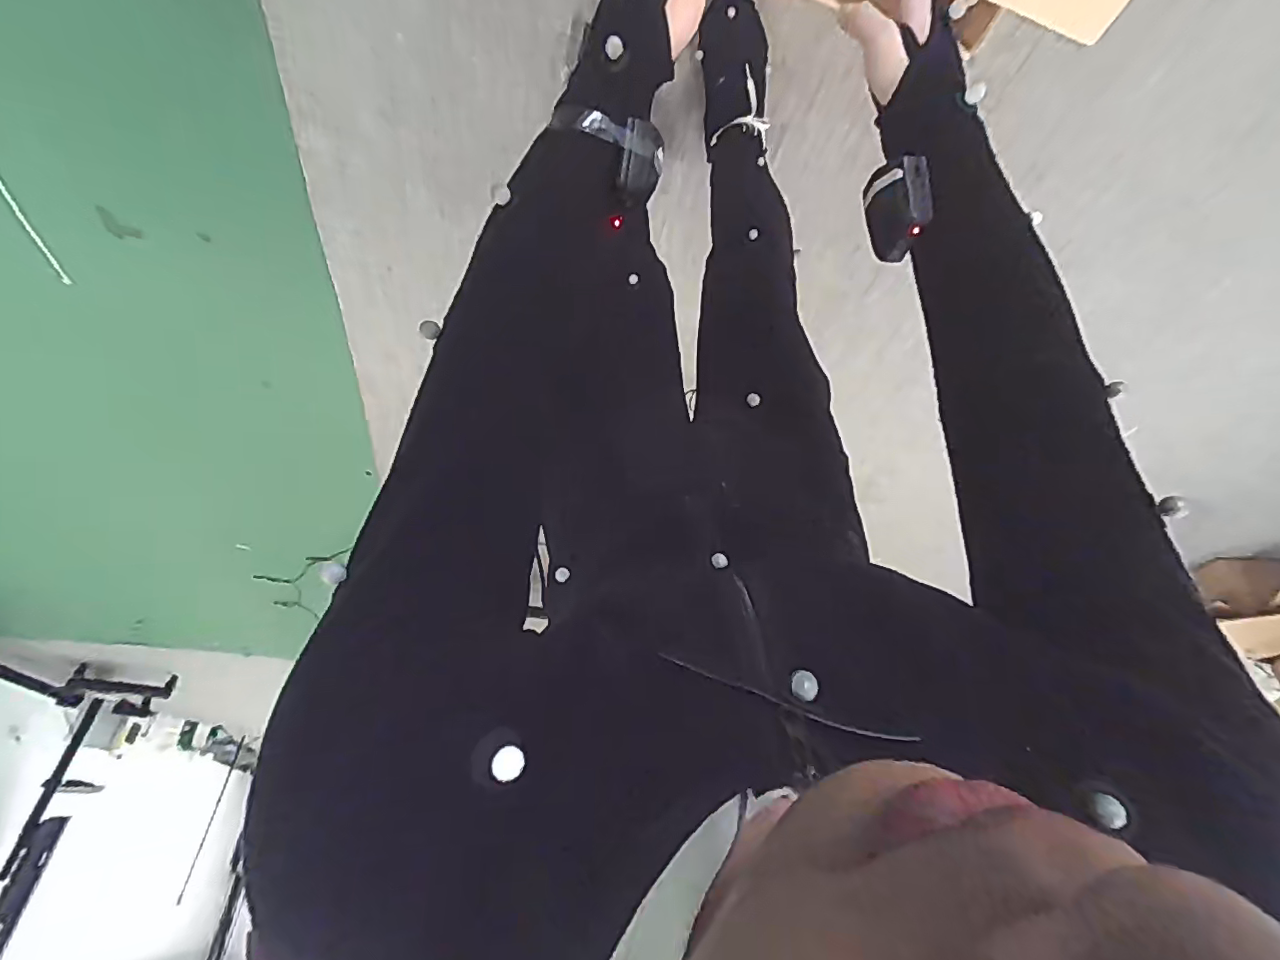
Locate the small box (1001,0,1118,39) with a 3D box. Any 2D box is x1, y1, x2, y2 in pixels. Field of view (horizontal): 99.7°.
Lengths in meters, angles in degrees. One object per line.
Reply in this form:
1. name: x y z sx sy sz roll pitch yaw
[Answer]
1. small box: 0.400 -0.573 0.508 0.168 0.176 0.179 11 144 -12
